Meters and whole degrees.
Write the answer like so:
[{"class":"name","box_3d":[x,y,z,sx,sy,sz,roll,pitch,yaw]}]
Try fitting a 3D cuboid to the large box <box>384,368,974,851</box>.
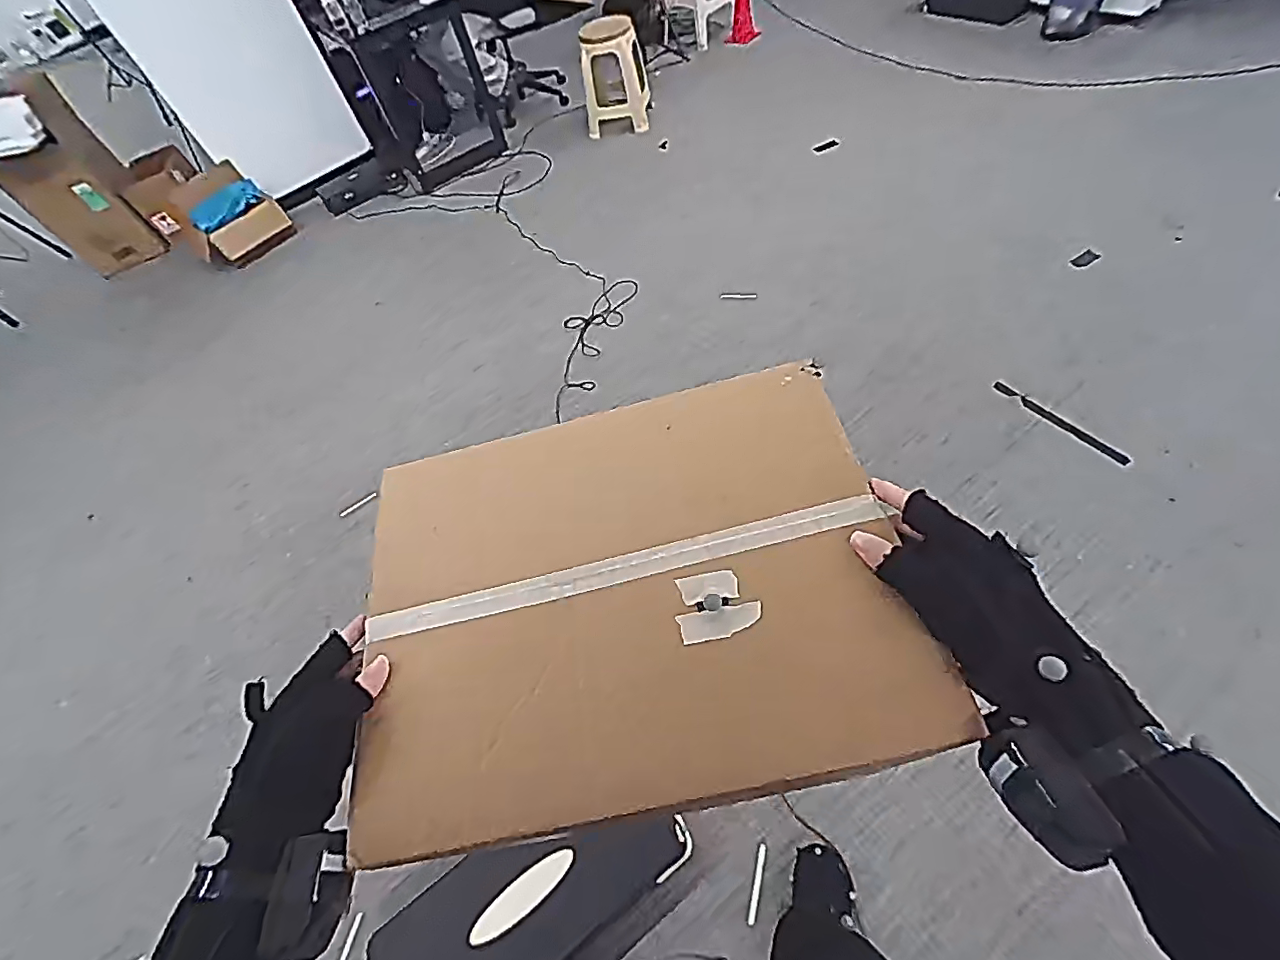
[{"class":"large box","box_3d":[0.019,0.147,0.552,0.408,0.320,0.320,-14,58,3]}]
